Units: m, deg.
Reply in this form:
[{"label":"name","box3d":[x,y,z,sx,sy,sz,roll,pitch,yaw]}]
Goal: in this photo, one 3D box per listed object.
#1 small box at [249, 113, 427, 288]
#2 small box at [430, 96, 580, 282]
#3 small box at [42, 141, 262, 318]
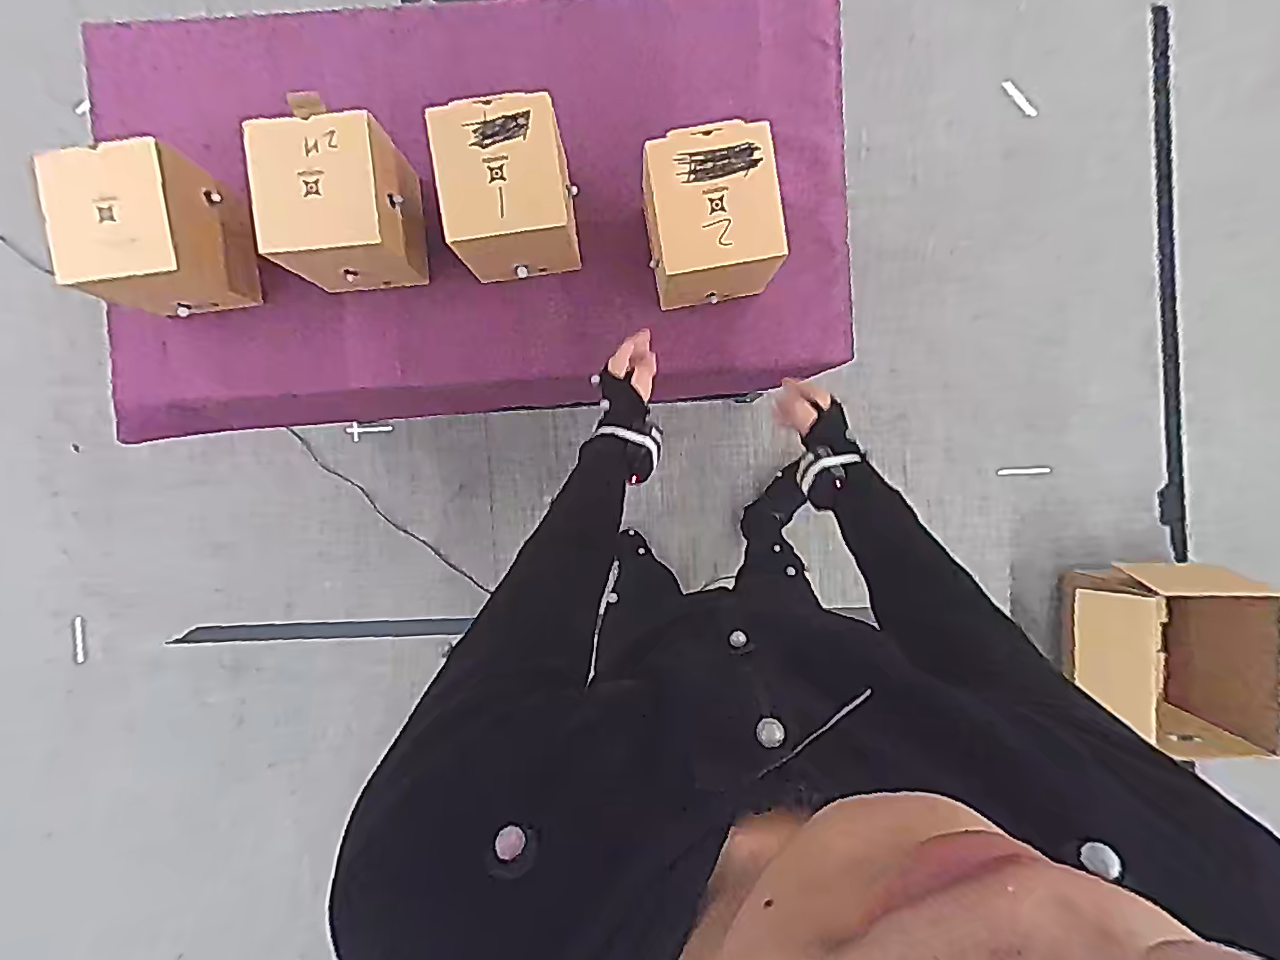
[{"label":"small box","box3d":[-0.428,-0.393,0.794,0.168,0.176,0.179,-5,91,0]},{"label":"small box","box3d":[-0.187,-0.414,0.794,0.168,0.176,0.179,-8,92,0]},{"label":"small box","box3d":[-0.700,-0.356,0.795,0.168,0.176,0.179,-7,91,0]}]
